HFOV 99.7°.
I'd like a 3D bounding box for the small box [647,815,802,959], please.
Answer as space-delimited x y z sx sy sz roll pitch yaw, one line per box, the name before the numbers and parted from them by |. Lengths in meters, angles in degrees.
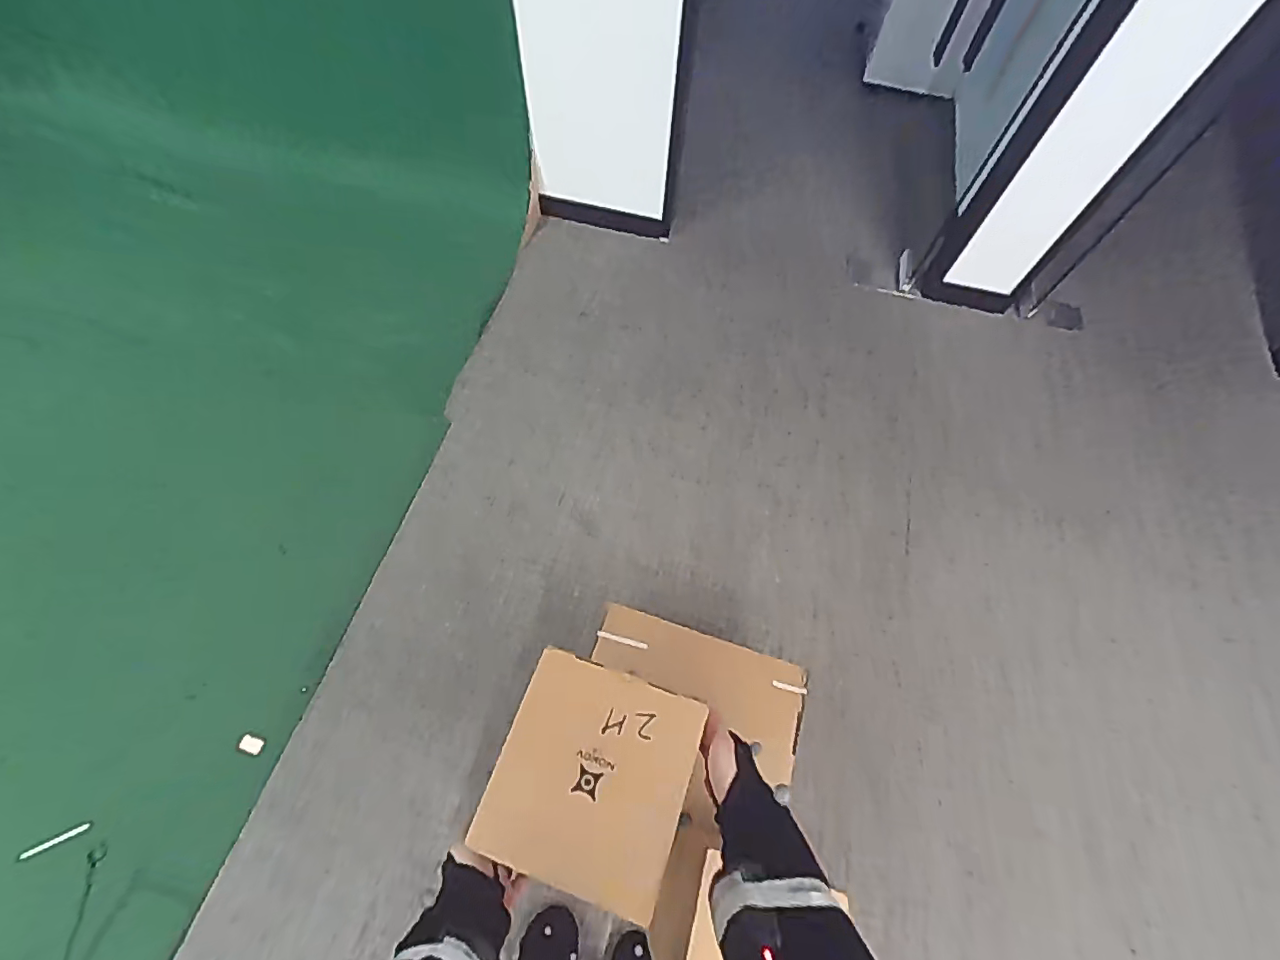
small box | 0.117 0.612 0.795 0.179 0.176 0.168 16 62 4
